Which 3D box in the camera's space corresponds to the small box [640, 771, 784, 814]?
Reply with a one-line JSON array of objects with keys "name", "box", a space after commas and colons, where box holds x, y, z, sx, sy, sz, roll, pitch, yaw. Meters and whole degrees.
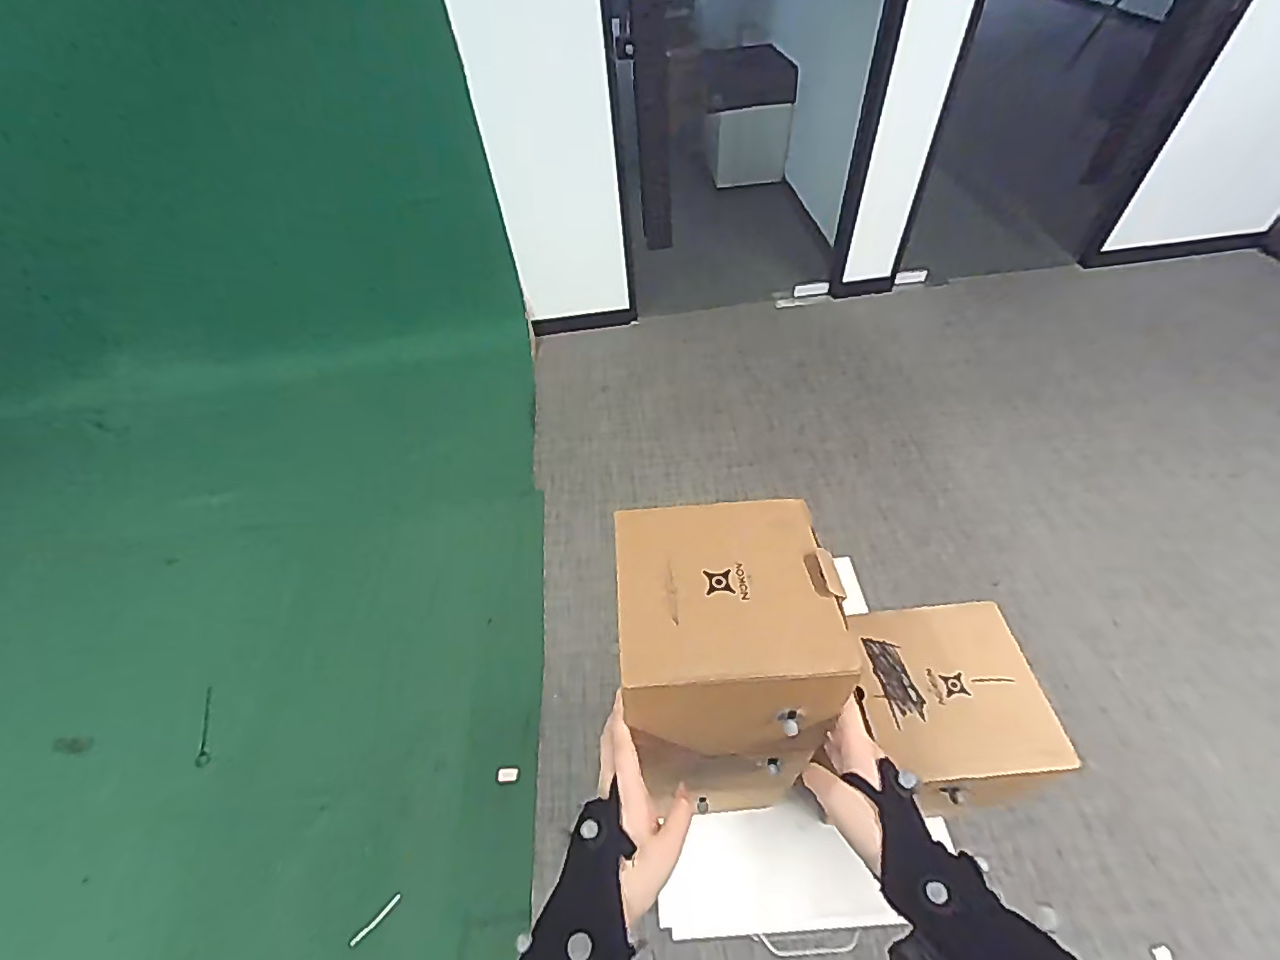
[{"name": "small box", "box": [0.085, 0.351, 0.751, 0.179, 0.176, 0.168, -5, 50, -1]}]

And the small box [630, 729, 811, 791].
[{"name": "small box", "box": [0.077, 0.247, 0.624, 0.179, 0.176, 0.168, -2, 48, -1]}]

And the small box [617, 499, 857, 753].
[{"name": "small box", "box": [0.071, 0.137, 0.501, 0.179, 0.176, 0.168, -4, 46, -1]}]

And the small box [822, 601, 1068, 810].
[{"name": "small box", "box": [0.303, 0.253, 0.599, 0.179, 0.176, 0.168, -5, 50, 1]}]
